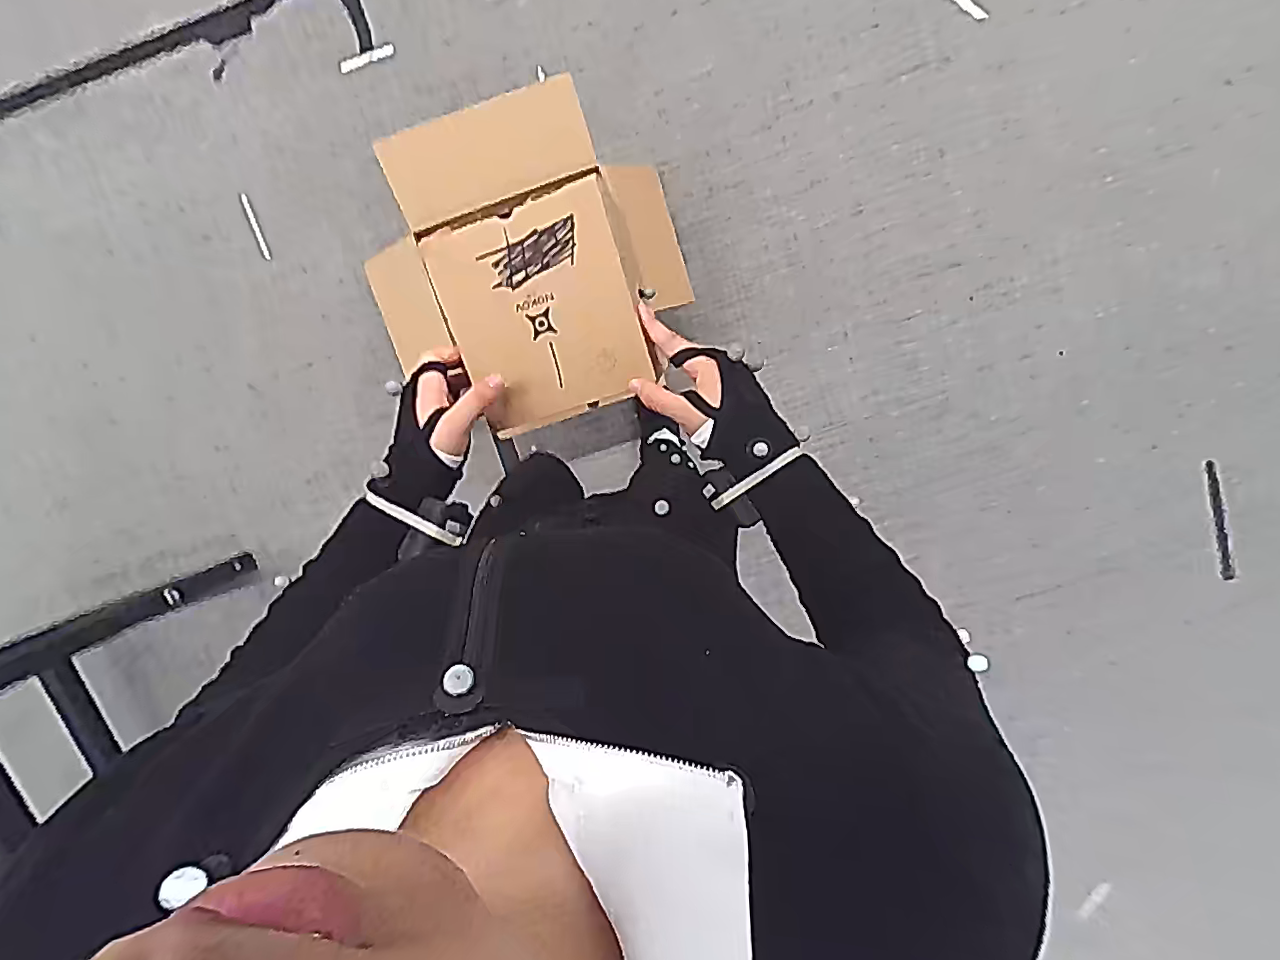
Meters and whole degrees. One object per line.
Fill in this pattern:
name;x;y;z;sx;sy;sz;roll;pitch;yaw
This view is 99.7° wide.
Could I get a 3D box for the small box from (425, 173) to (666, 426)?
small box;-0.076;-0.171;0.544;0.168;0.176;0.179;-15;105;11
